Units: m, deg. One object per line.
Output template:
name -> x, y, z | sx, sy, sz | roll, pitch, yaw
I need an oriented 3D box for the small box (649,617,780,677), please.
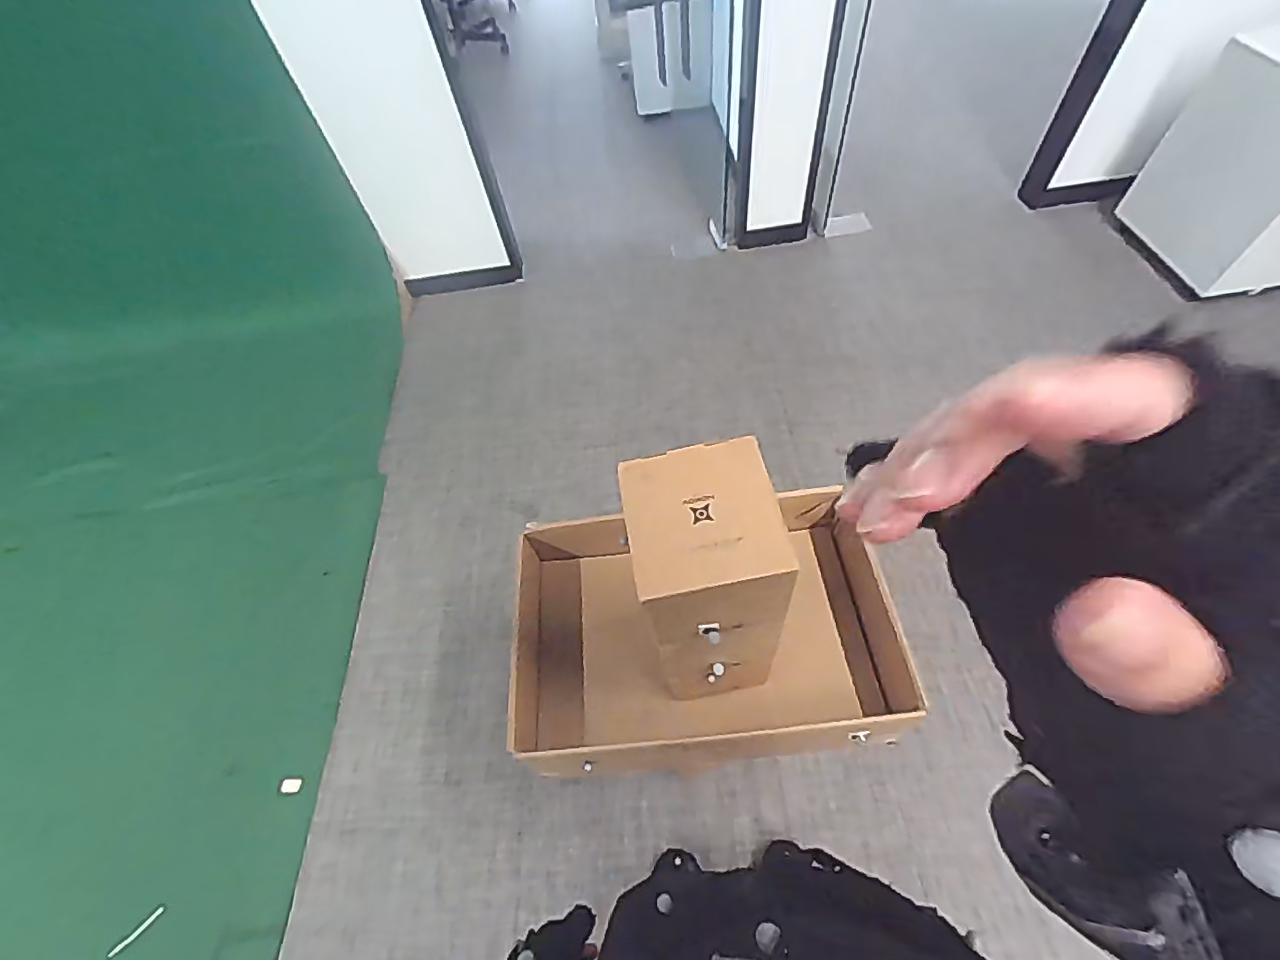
small box -> 0.092, 0.168, 0.788 | 0.168, 0.176, 0.179 | -11, 56, 1

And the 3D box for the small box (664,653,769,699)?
small box -> 0.114, 0.254, 0.926 | 0.168, 0.176, 0.179 | -13, 55, 2

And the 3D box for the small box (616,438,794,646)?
small box -> 0.072, 0.079, 0.655 | 0.168, 0.176, 0.179 | -12, 56, 2
